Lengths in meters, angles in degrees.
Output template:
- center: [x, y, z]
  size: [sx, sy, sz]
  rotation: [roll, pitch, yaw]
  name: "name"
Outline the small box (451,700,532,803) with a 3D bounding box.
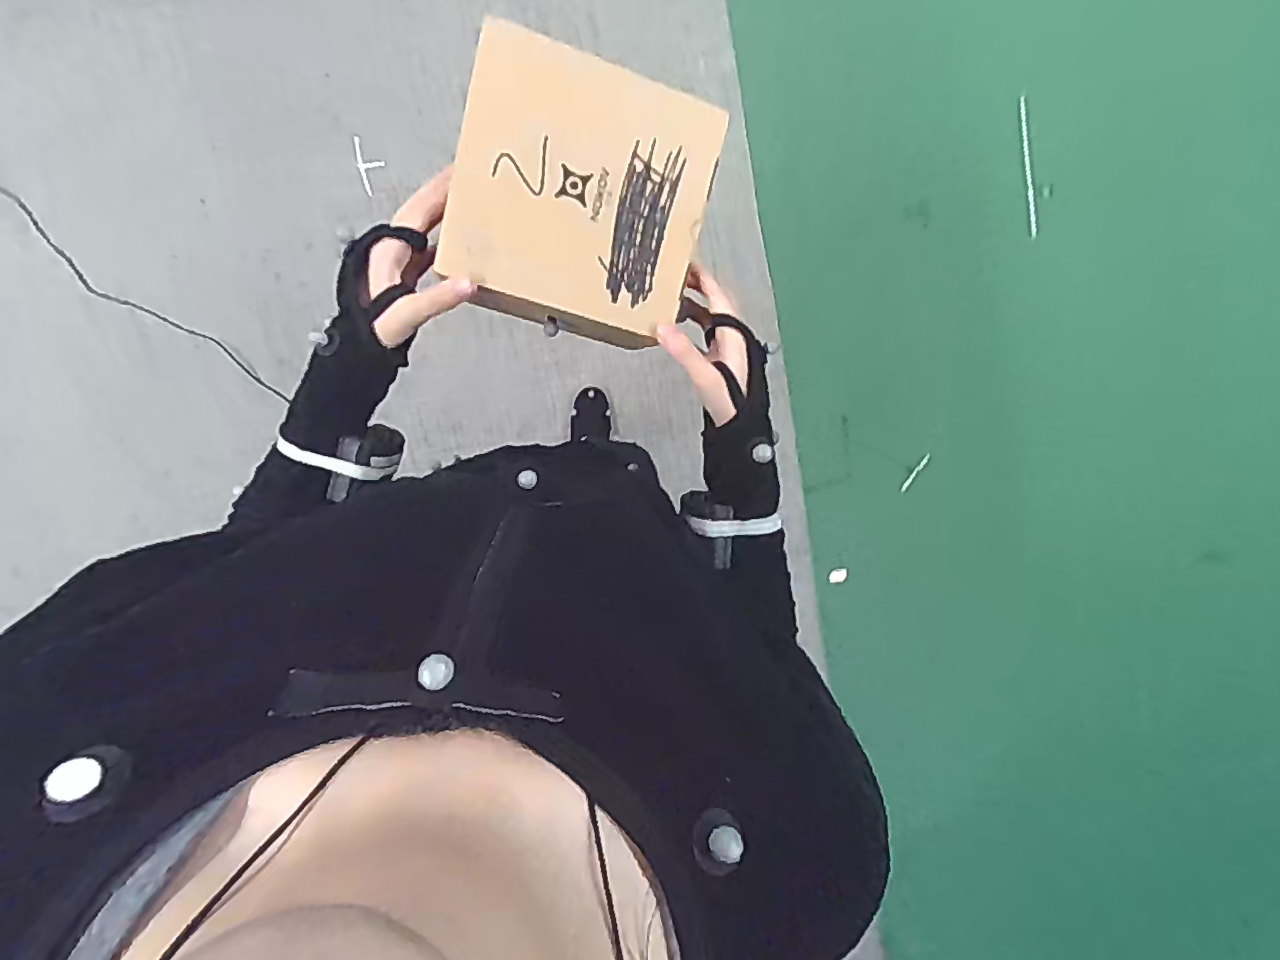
- center: [-0.400, 0.738, 1.484]
  size: [0.168, 0.176, 0.179]
  rotation: [-10, 96, -4]
  name: "small box"
